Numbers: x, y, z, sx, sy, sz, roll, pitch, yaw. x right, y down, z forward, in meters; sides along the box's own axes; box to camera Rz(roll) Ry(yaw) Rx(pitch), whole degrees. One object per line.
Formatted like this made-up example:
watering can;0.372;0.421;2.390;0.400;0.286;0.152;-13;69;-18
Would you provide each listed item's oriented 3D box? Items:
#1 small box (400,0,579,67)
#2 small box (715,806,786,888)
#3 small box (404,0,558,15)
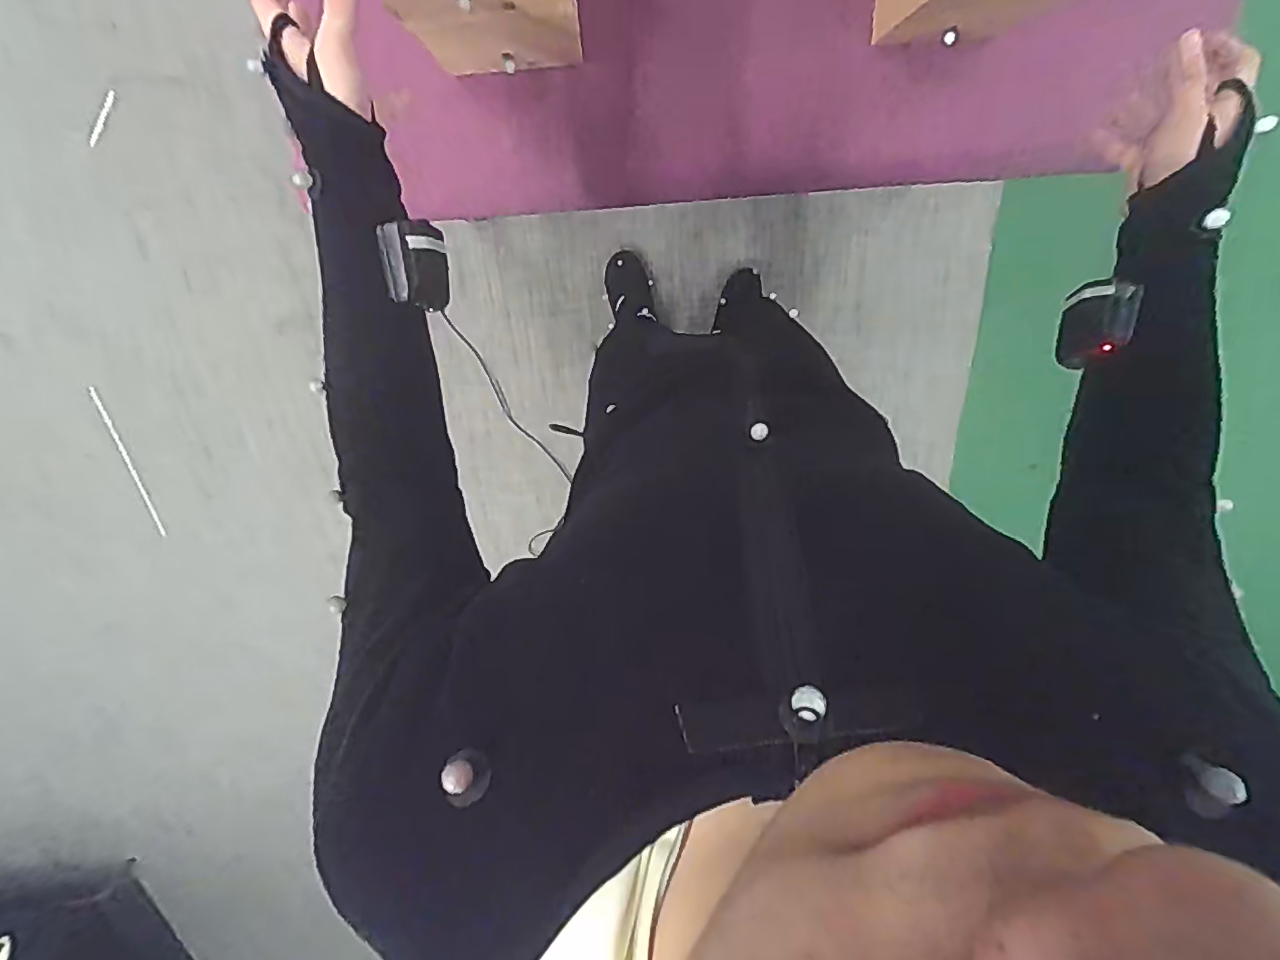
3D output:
small box;-0.158;-0.568;0.567;0.168;0.176;0.179;-5;114;0
small box;0.359;1.207;1.784;0.179;0.176;0.168;5;114;-5
small box;-0.152;-0.505;0.417;0.168;0.176;0.179;-6;114;0
